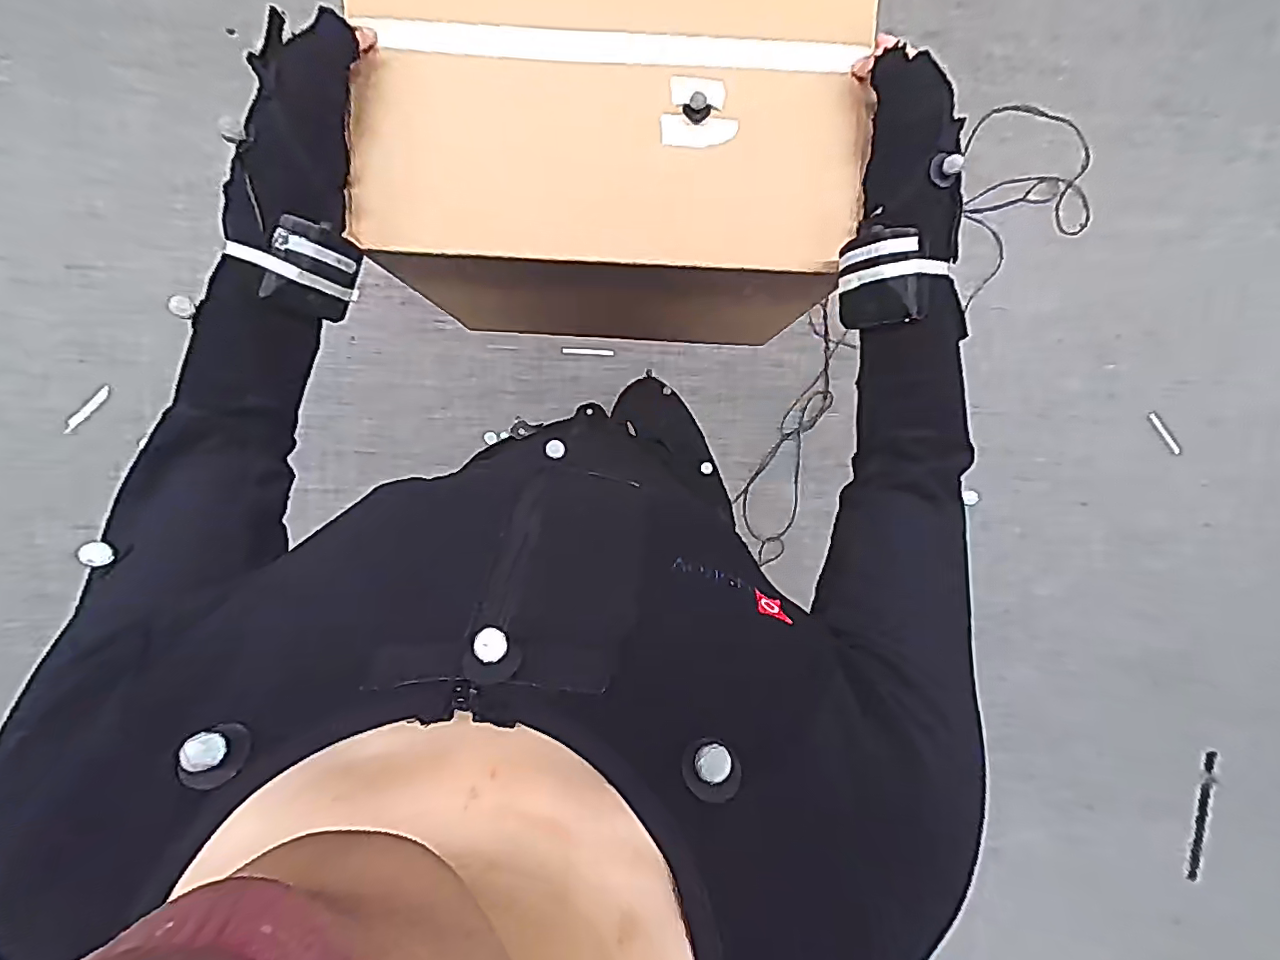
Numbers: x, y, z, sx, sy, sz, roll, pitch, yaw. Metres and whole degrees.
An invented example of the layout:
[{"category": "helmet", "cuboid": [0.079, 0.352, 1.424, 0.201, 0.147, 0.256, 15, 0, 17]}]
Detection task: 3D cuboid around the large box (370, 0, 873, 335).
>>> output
[{"category": "large box", "cuboid": [-0.019, -0.346, 0.579, 0.408, 0.320, 0.320, 2, 94, -1]}]
